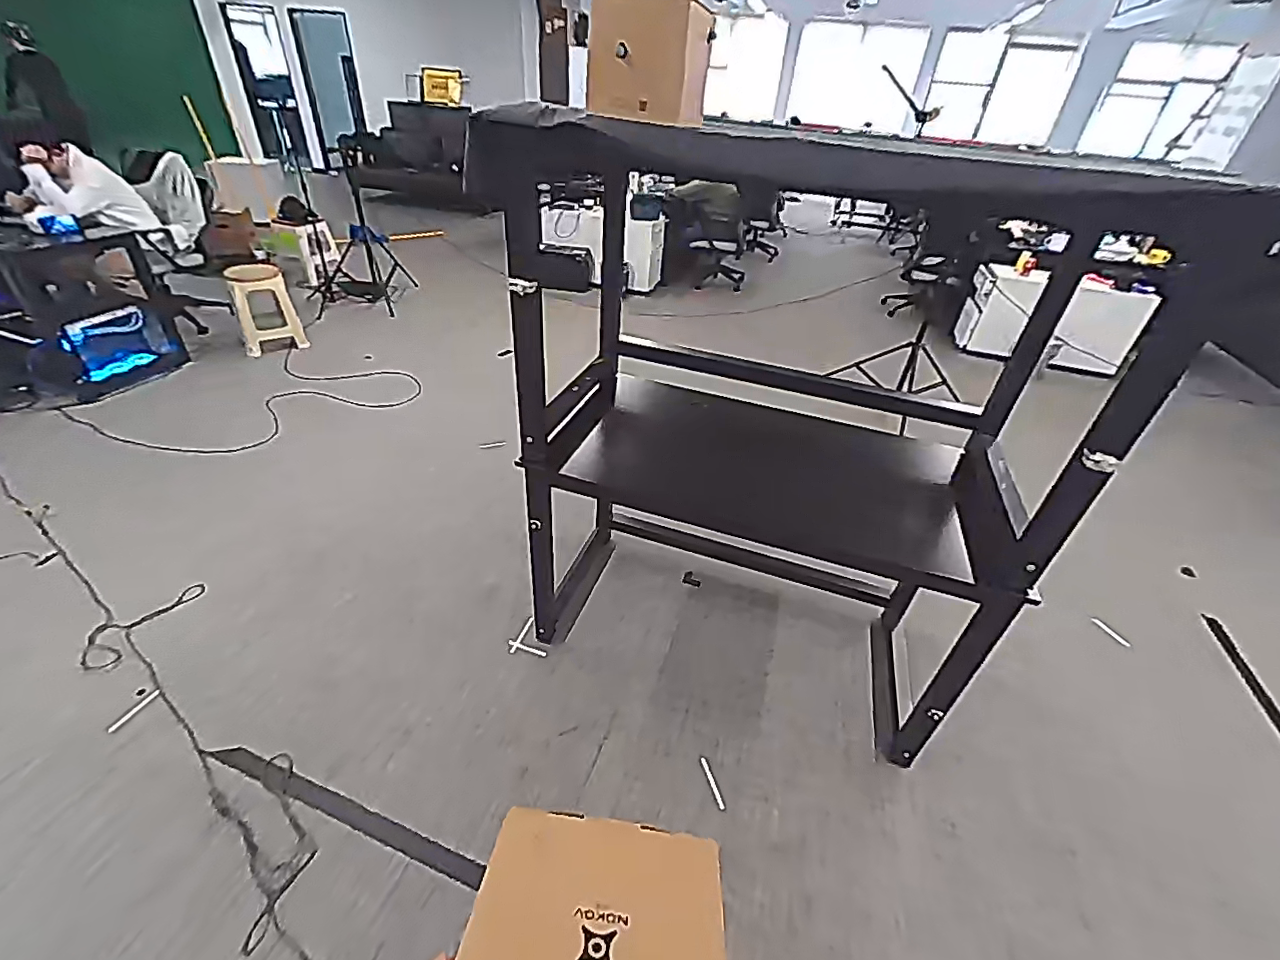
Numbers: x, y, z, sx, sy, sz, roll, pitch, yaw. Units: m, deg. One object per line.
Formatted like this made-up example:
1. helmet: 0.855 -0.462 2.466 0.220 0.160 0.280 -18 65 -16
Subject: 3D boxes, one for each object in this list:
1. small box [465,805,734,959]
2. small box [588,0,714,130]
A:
1. small box: -0.033 0.364 0.359 0.168 0.176 0.179 8 16 1
2. small box: 0.018 -0.705 0.924 0.168 0.176 0.179 16 35 12
